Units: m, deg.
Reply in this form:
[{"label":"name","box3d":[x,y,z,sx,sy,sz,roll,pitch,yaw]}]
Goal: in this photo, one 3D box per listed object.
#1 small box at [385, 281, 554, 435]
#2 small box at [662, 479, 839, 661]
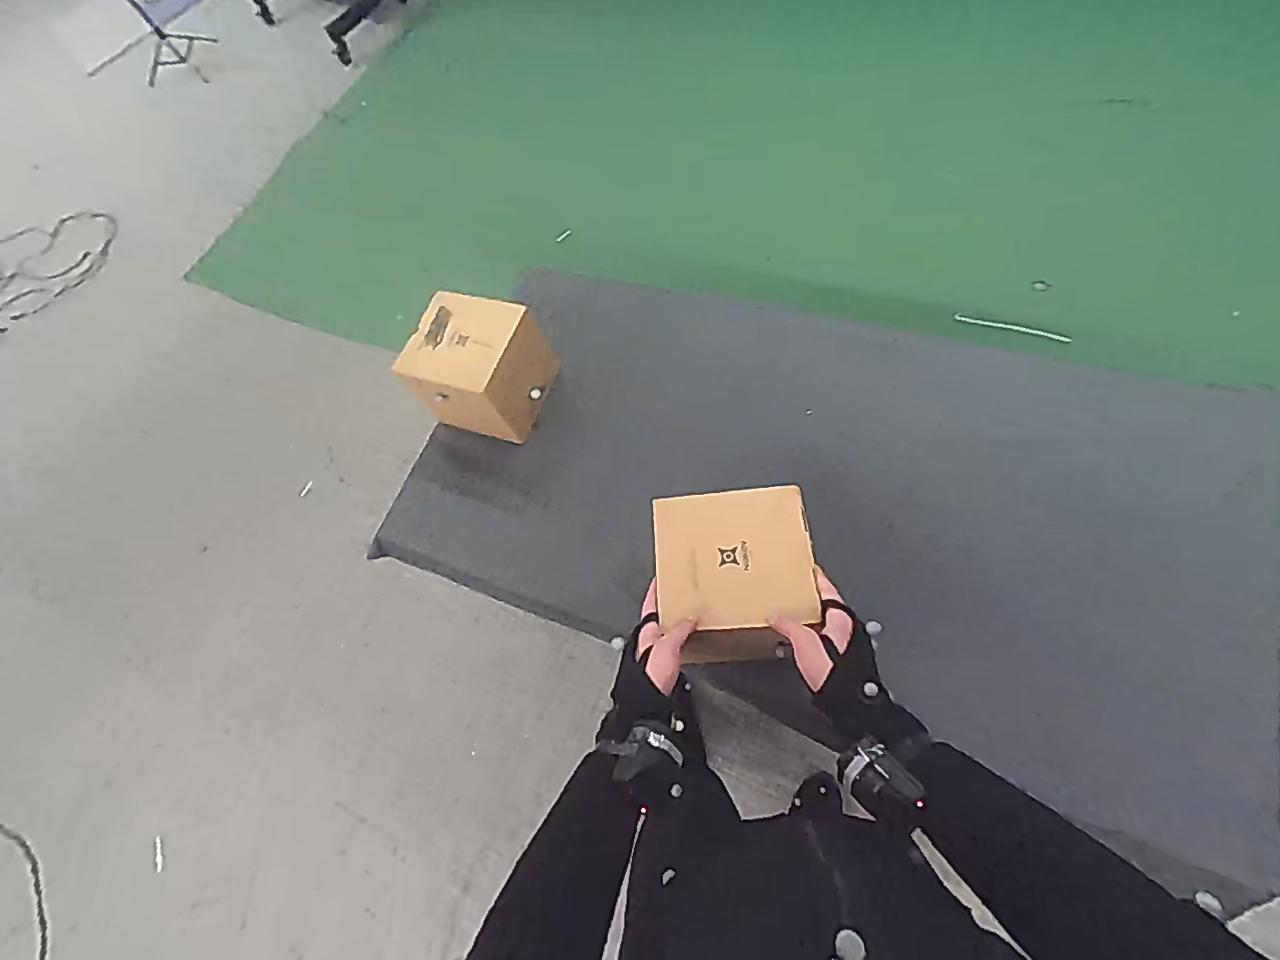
[{"label":"small box","box3d":[-0.268,-0.195,0.891,0.179,0.176,0.168,16,69,15]},{"label":"small box","box3d":[0.124,0.117,0.659,0.179,0.176,0.168,-6,58,7]}]
